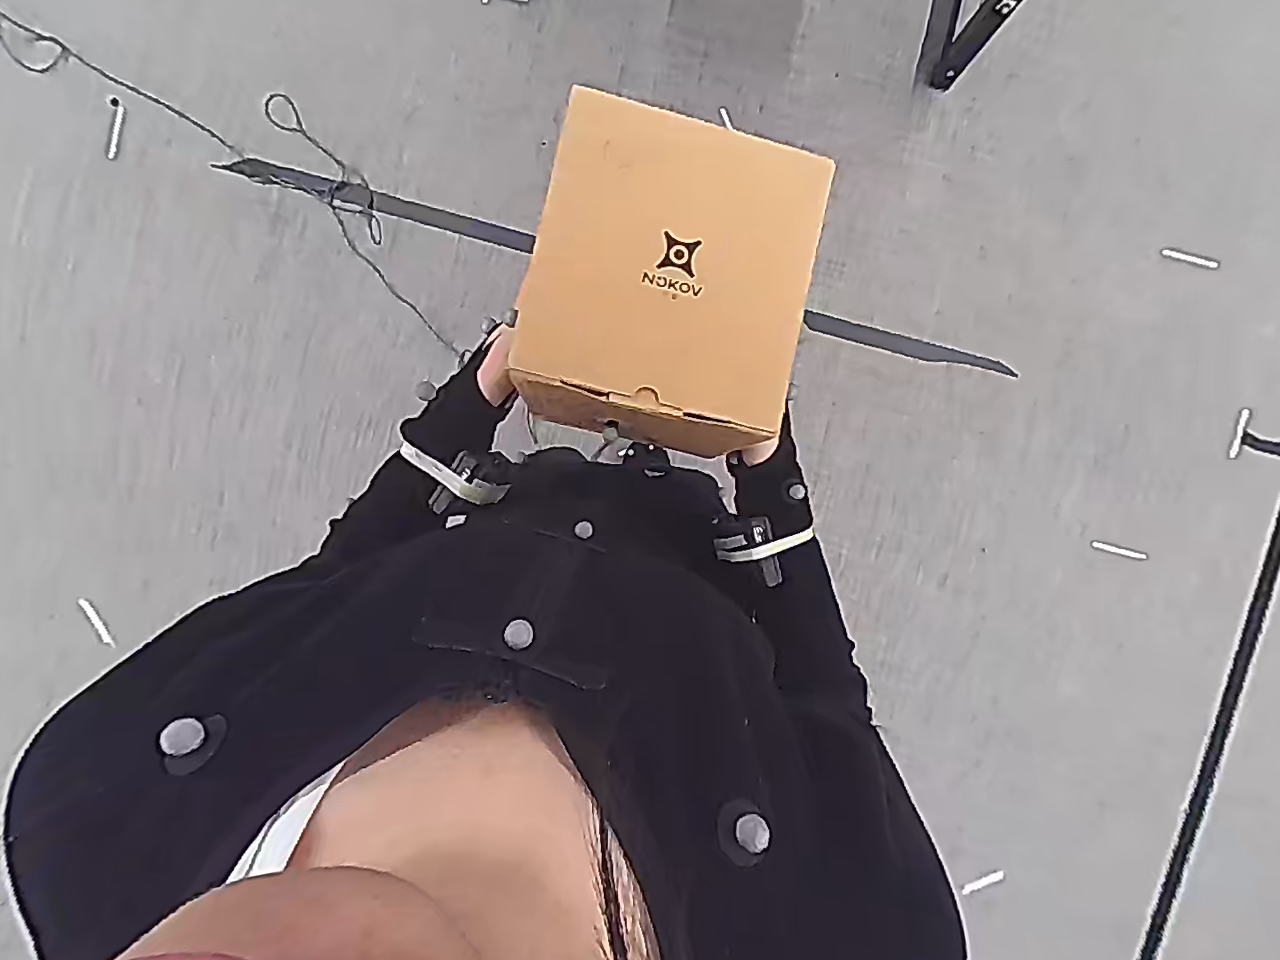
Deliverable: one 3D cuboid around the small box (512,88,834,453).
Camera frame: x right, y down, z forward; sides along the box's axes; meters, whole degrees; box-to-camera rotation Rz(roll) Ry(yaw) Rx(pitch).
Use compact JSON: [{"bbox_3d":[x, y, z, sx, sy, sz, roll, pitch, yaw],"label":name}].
[{"bbox_3d":[0.014,-0.125,0.398,0.168,0.176,0.179,13,88,-6],"label":"small box"}]
